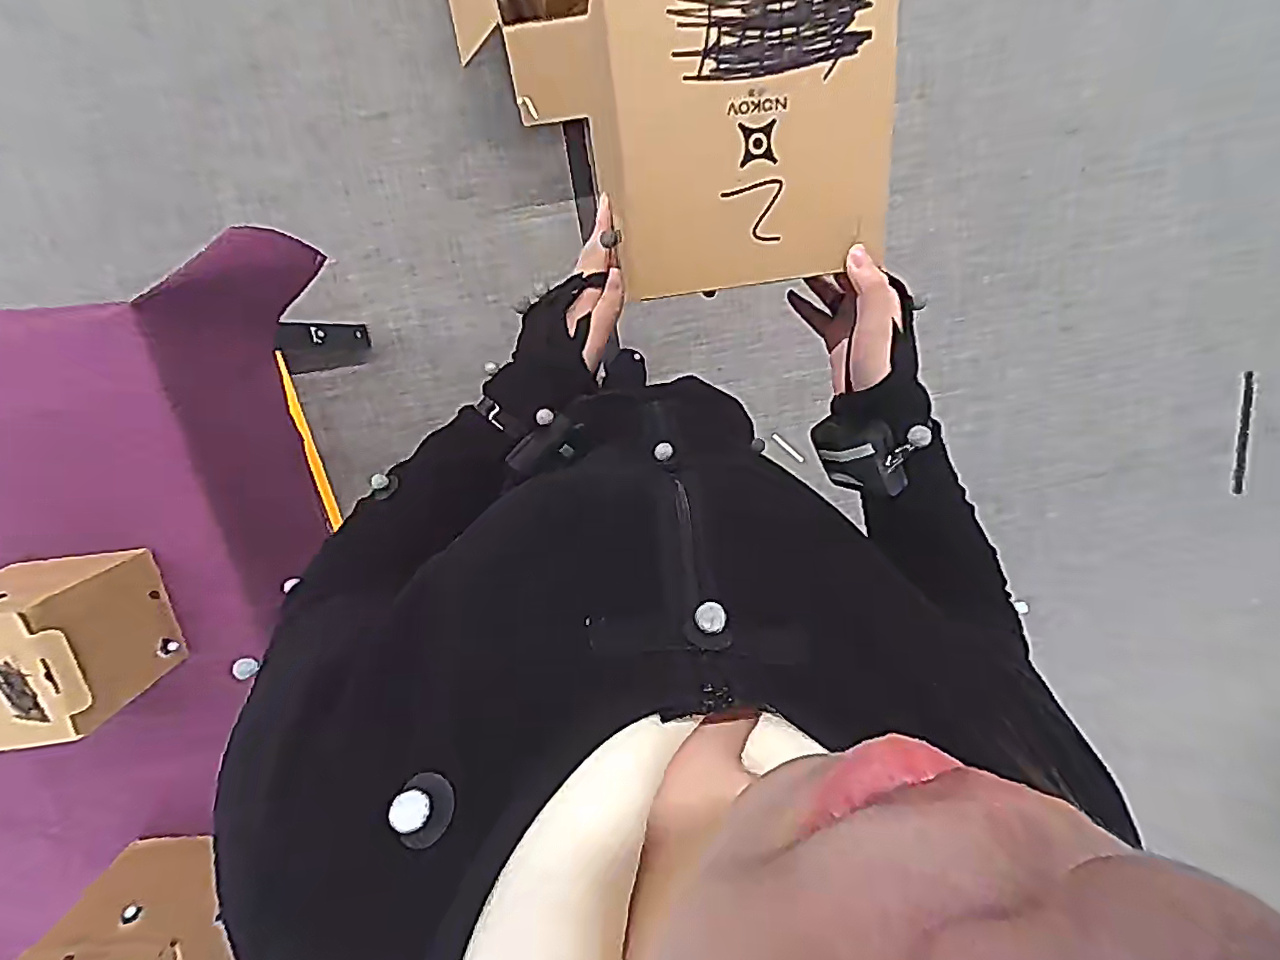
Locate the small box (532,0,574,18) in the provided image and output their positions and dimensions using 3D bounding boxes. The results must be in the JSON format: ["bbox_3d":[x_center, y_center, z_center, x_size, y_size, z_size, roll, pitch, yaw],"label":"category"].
[{"bbox_3d":[-0.146,-0.983,0.957,0.179,0.176,0.168,-32,107,0],"label":"small box"}]

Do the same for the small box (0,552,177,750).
[{"bbox_3d":[-0.717,0.198,0.655,0.179,0.176,0.168,-7,105,-2],"label":"small box"}]

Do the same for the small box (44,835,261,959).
[{"bbox_3d":[-0.682,0.645,0.778,0.179,0.176,0.168,1,104,-5],"label":"small box"}]

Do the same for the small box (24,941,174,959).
[{"bbox_3d":[-0.670,0.681,0.618,0.168,0.176,0.179,2,104,-6],"label":"small box"}]
